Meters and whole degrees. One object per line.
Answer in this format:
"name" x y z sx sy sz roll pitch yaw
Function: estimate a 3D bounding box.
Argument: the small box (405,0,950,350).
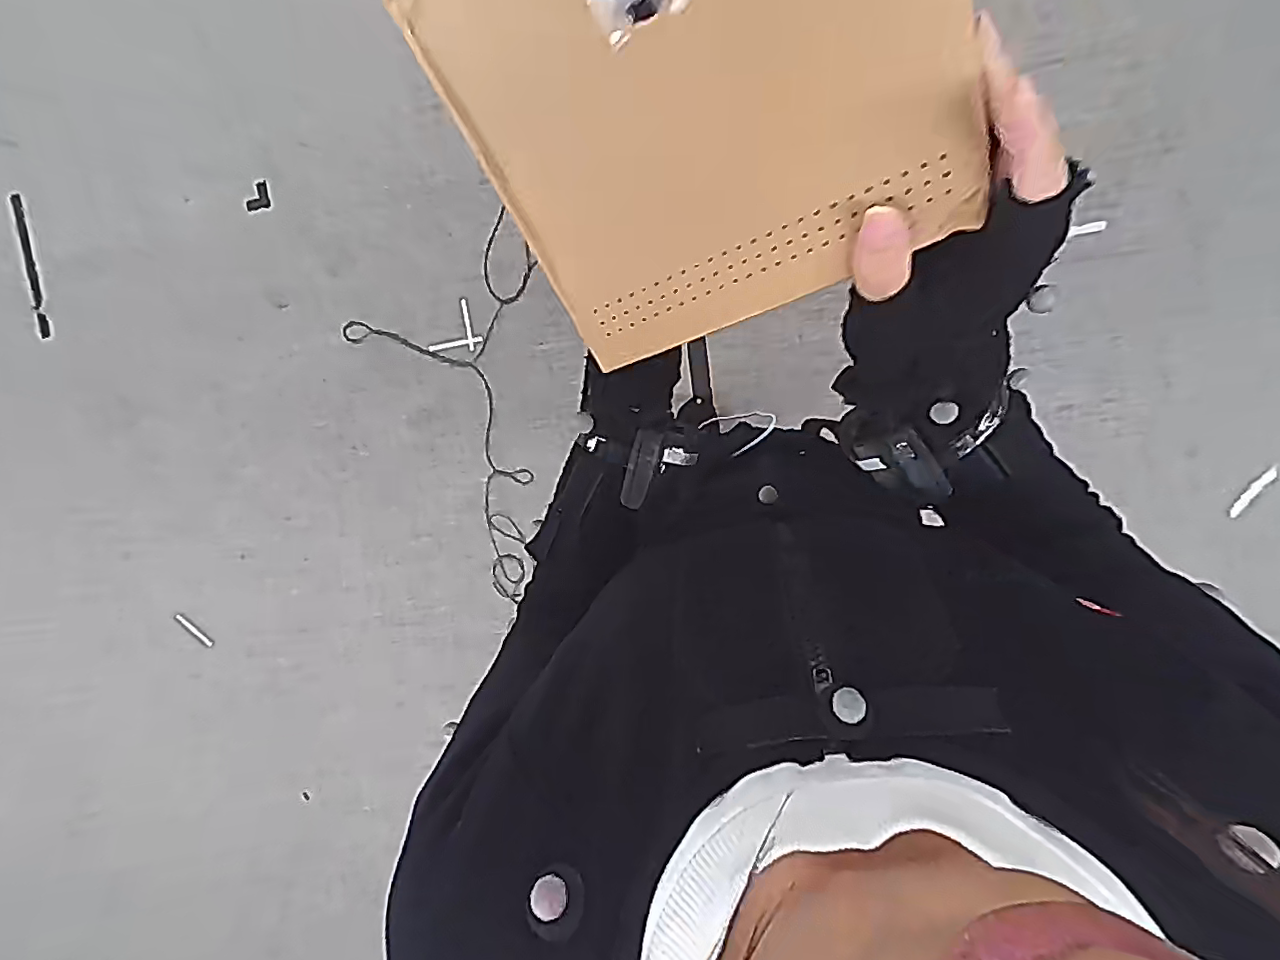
"small box" 0.033 -0.193 0.274 0.179 0.168 0.176 -15 127 26
